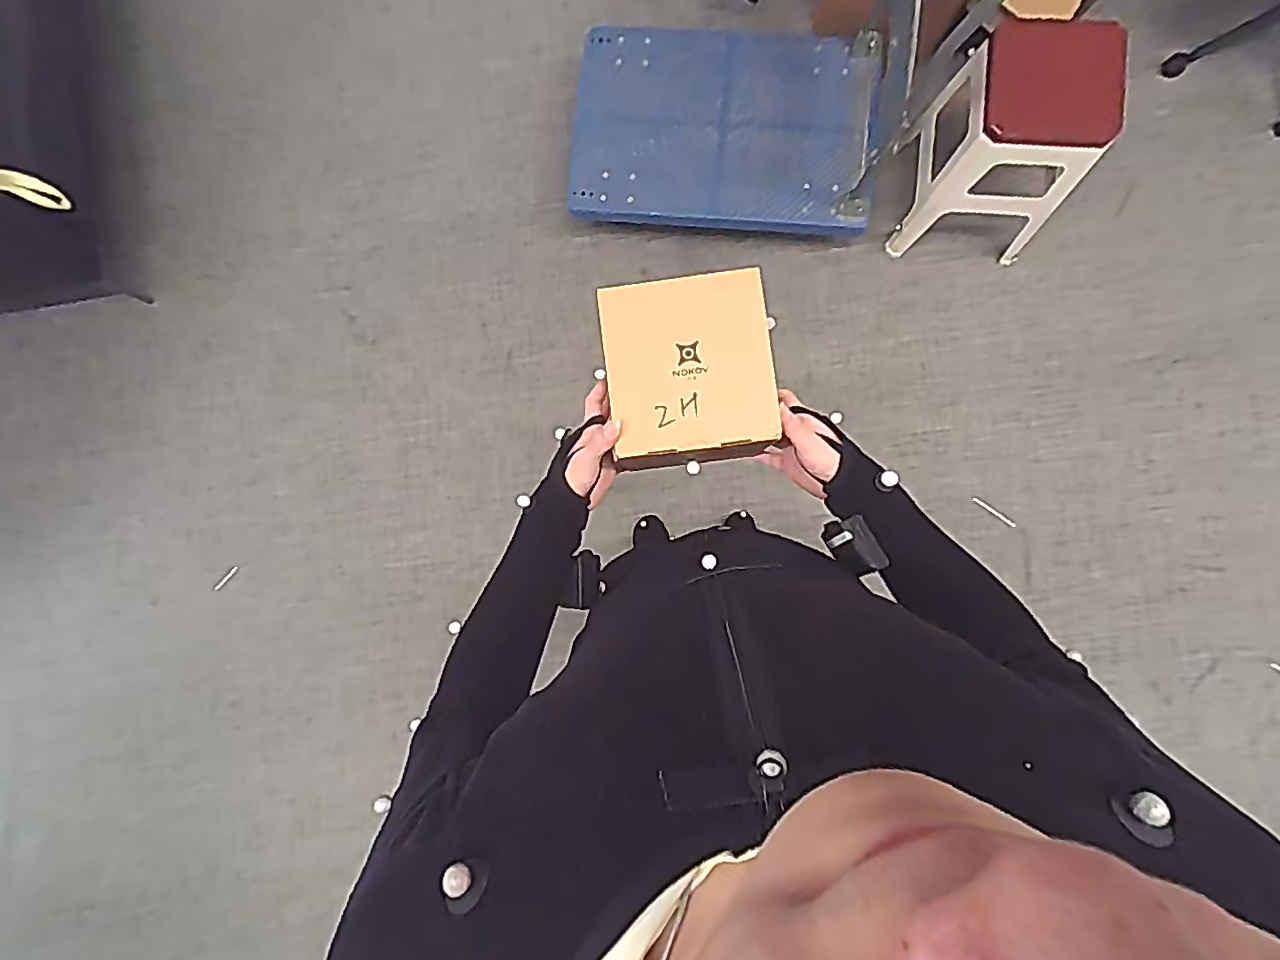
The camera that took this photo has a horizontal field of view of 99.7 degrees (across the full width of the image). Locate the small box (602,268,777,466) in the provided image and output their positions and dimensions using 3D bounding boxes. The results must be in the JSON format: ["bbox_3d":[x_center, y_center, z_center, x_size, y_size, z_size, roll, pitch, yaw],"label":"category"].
[{"bbox_3d":[0.051,-0.117,0.623,0.168,0.176,0.179,-6,87,3],"label":"small box"}]
